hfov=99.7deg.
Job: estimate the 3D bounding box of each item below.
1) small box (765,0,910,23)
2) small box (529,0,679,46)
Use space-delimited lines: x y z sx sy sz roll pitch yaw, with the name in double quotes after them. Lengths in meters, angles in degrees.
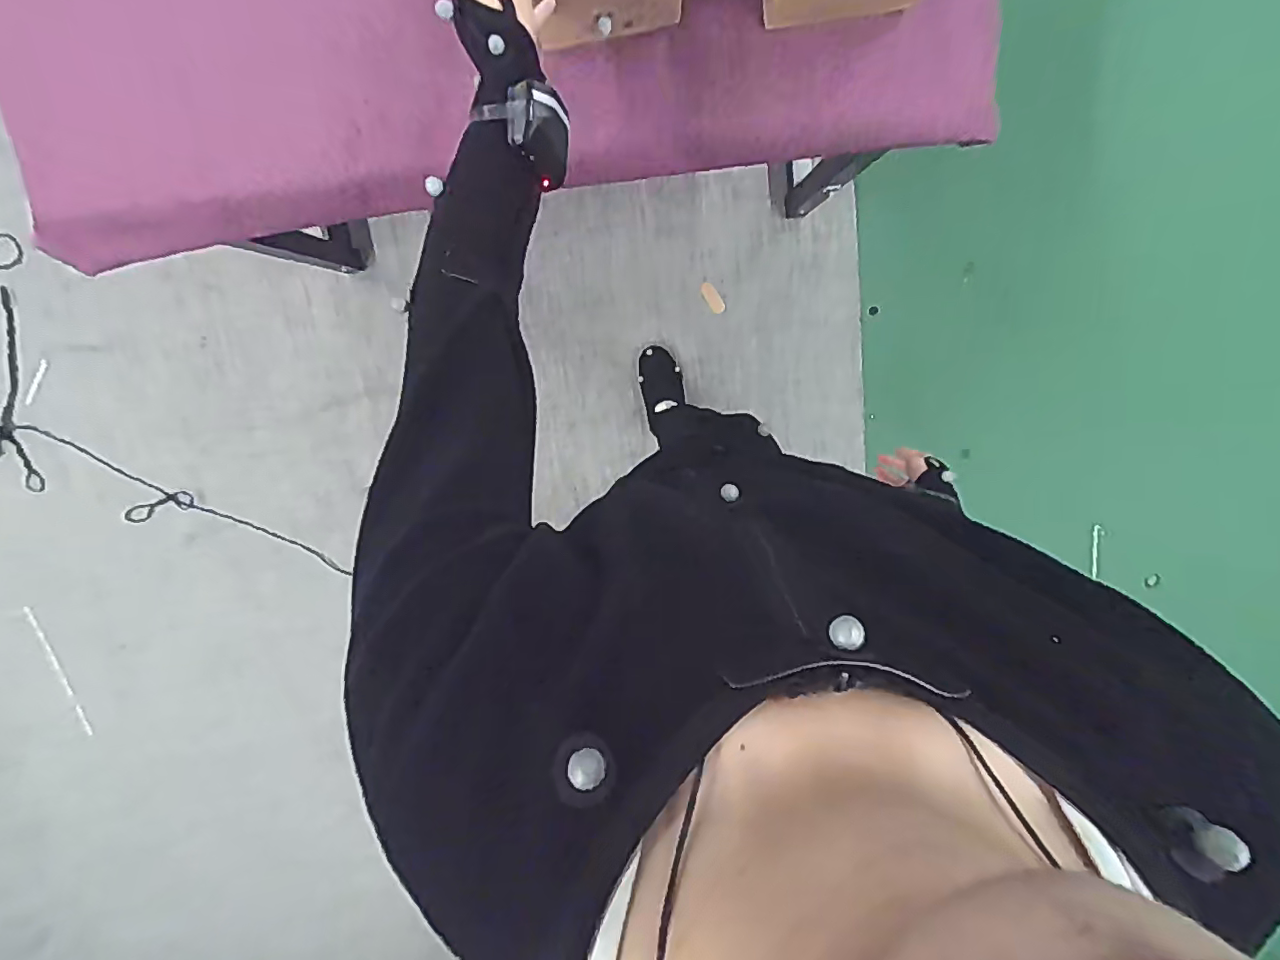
0.223 -0.598 0.537 0.179 0.176 0.168 -6 103 1 "small box"
-0.049 -0.586 0.537 0.168 0.176 0.179 -10 104 2 "small box"
